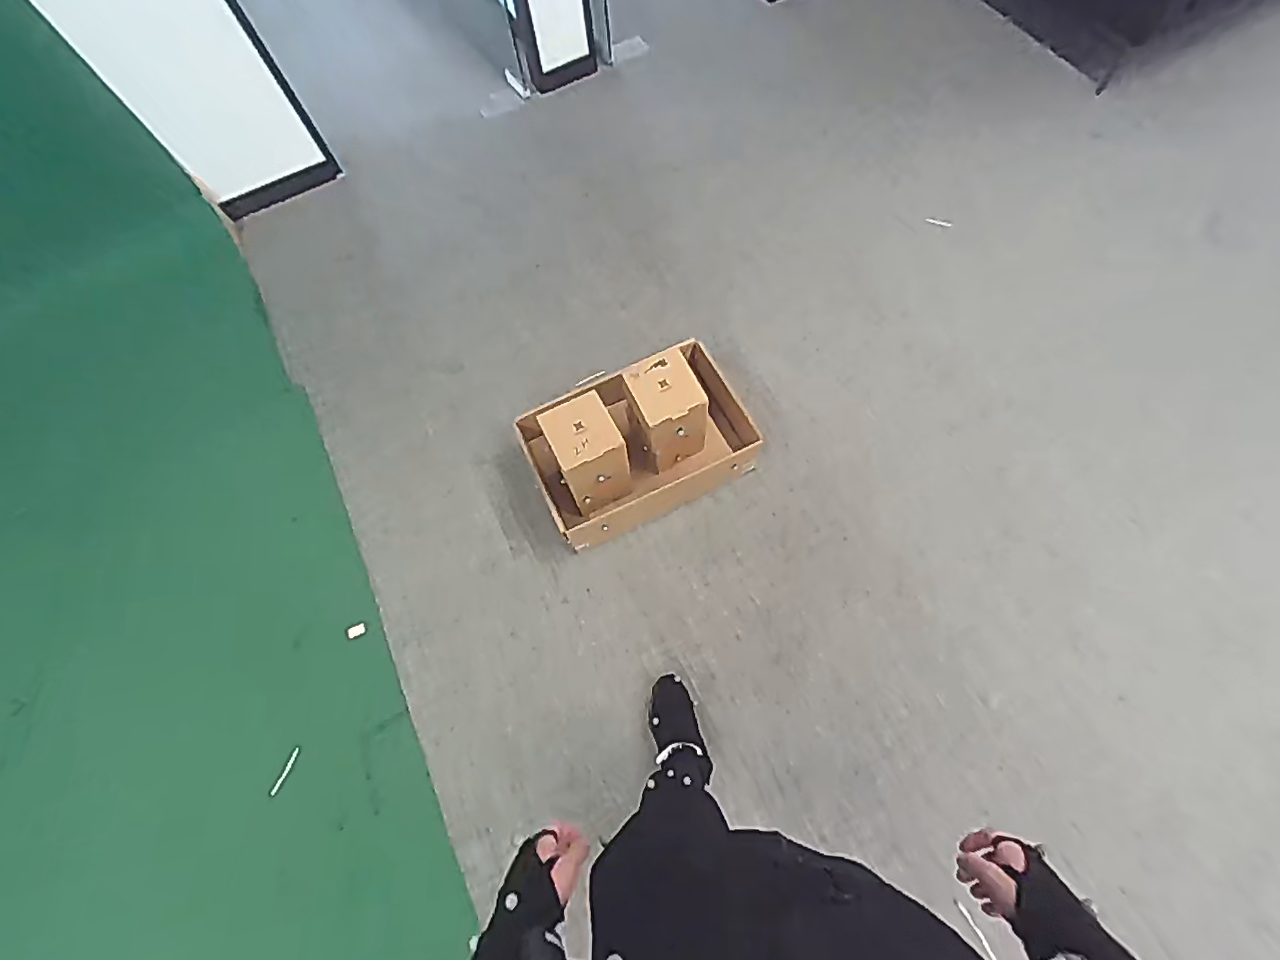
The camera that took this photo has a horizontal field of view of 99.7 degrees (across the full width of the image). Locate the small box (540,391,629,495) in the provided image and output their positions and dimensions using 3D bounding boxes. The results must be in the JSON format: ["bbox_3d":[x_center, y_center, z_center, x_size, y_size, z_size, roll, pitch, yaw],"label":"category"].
[{"bbox_3d":[-0.138,-0.091,1.395,0.168,0.176,0.179,-26,68,-7],"label":"small box"}]
